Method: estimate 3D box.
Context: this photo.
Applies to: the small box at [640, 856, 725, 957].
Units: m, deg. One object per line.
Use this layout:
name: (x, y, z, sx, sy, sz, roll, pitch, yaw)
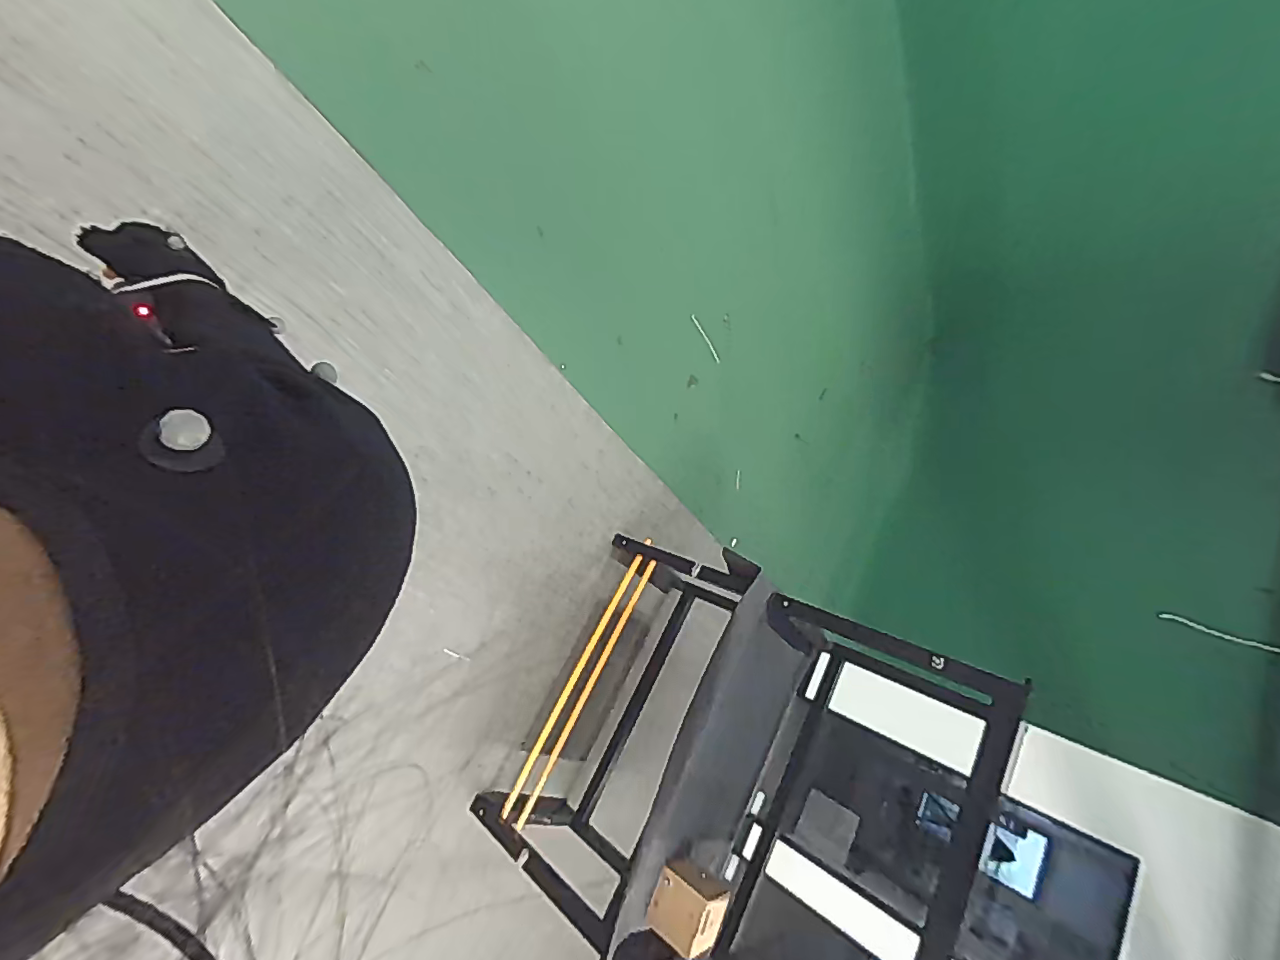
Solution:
small box: (0.128, 1.295, 1.657, 0.179, 0.176, 0.168, 37, 74, -50)
